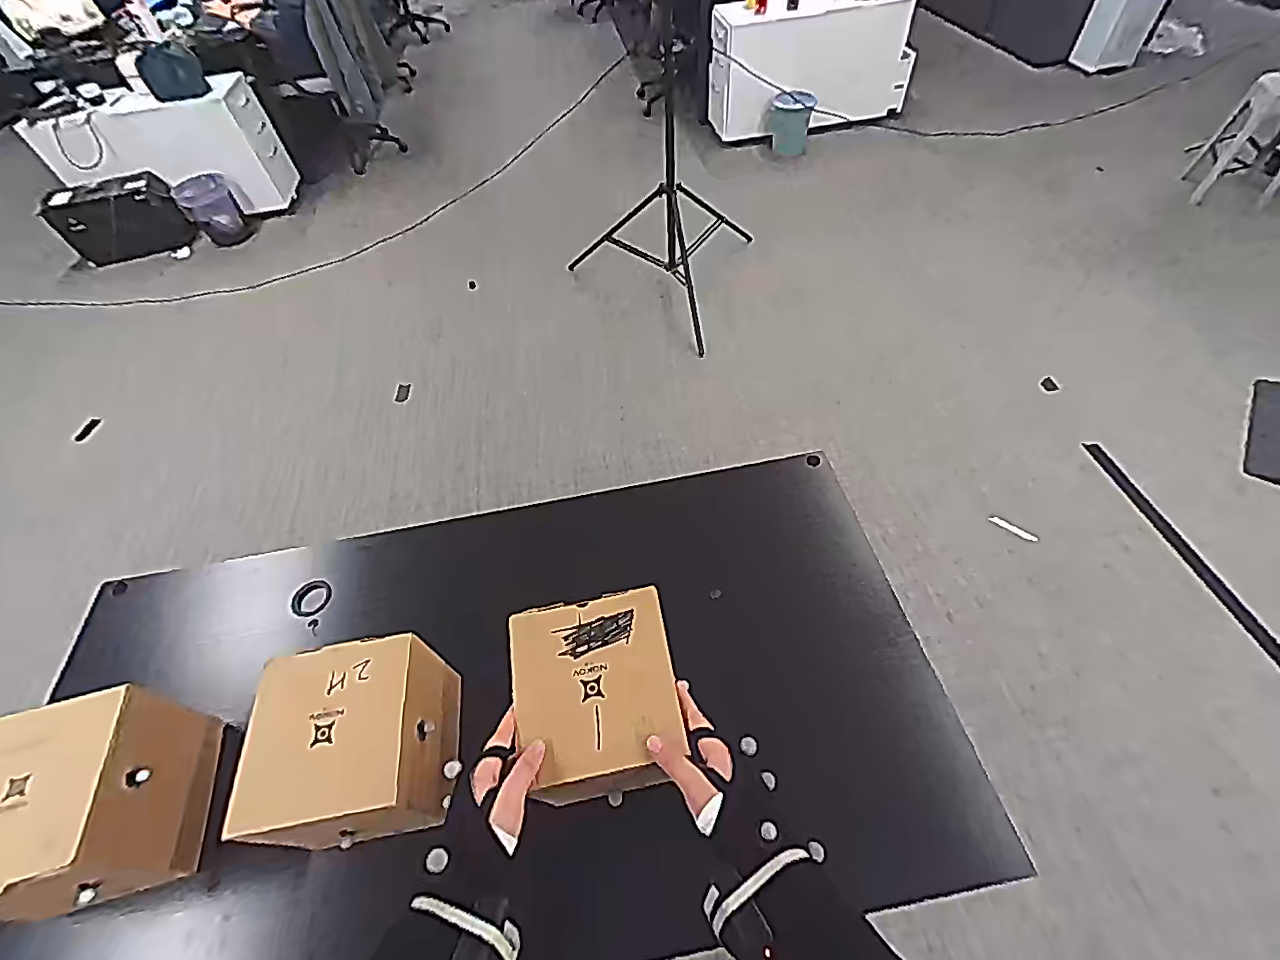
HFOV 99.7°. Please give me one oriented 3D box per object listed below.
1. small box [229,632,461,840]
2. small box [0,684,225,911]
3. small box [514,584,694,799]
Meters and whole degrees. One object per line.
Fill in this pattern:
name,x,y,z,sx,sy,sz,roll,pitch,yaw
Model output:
small box,-0.316,0.301,0.625,0.168,0.176,0.179,-9,53,-3
small box,-0.617,0.361,0.611,0.168,0.176,0.179,-14,52,-7
small box,-0.039,0.243,0.611,0.168,0.176,0.179,-12,57,-1
